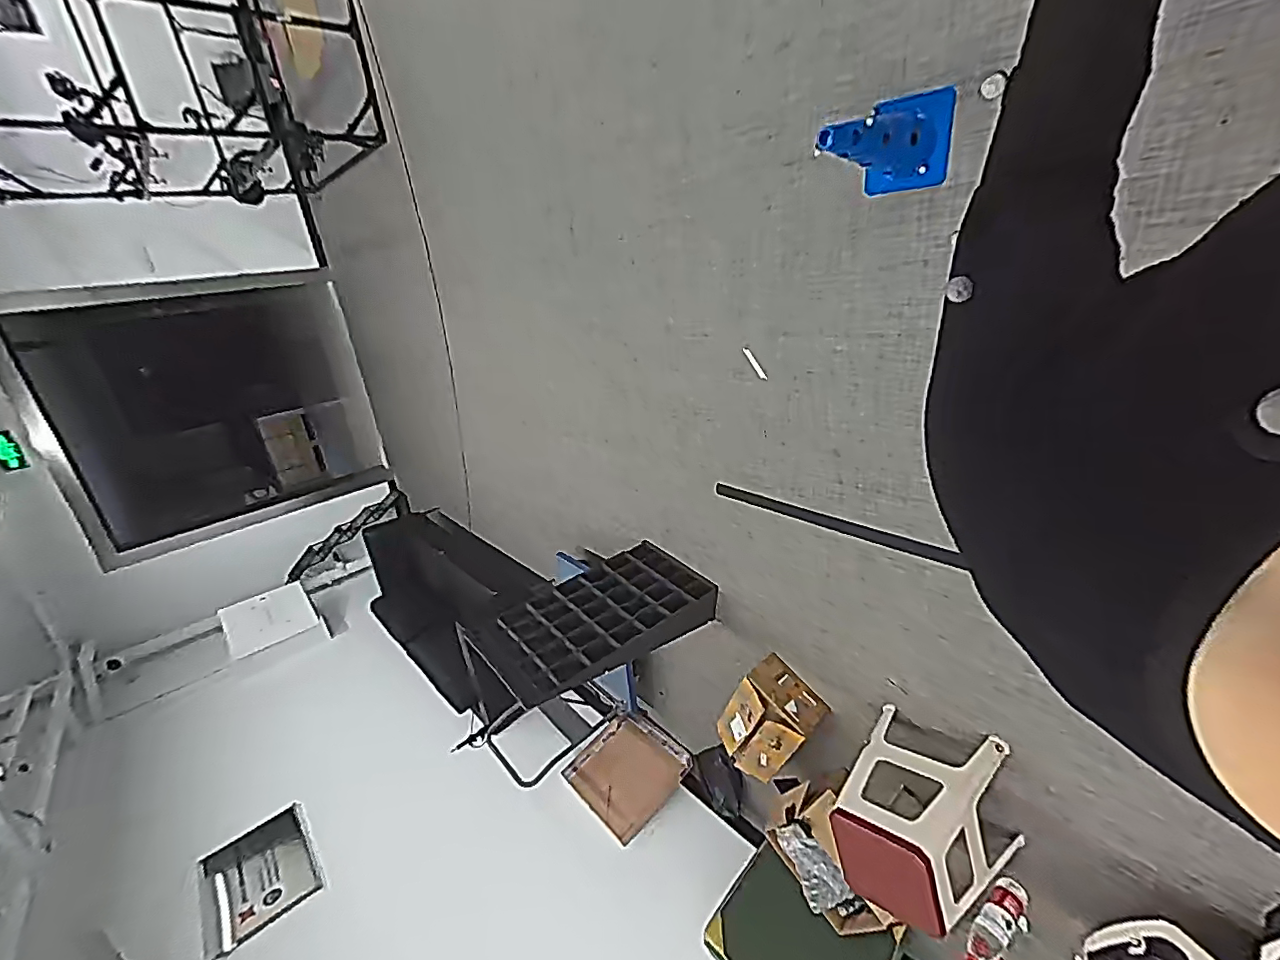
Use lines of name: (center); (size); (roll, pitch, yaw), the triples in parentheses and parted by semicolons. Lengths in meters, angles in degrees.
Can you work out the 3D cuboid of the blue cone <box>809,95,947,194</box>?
blue cone: (0.512, -0.757, 1.216); (0.192, 0.380, 0.193); (23, 126, 46)
